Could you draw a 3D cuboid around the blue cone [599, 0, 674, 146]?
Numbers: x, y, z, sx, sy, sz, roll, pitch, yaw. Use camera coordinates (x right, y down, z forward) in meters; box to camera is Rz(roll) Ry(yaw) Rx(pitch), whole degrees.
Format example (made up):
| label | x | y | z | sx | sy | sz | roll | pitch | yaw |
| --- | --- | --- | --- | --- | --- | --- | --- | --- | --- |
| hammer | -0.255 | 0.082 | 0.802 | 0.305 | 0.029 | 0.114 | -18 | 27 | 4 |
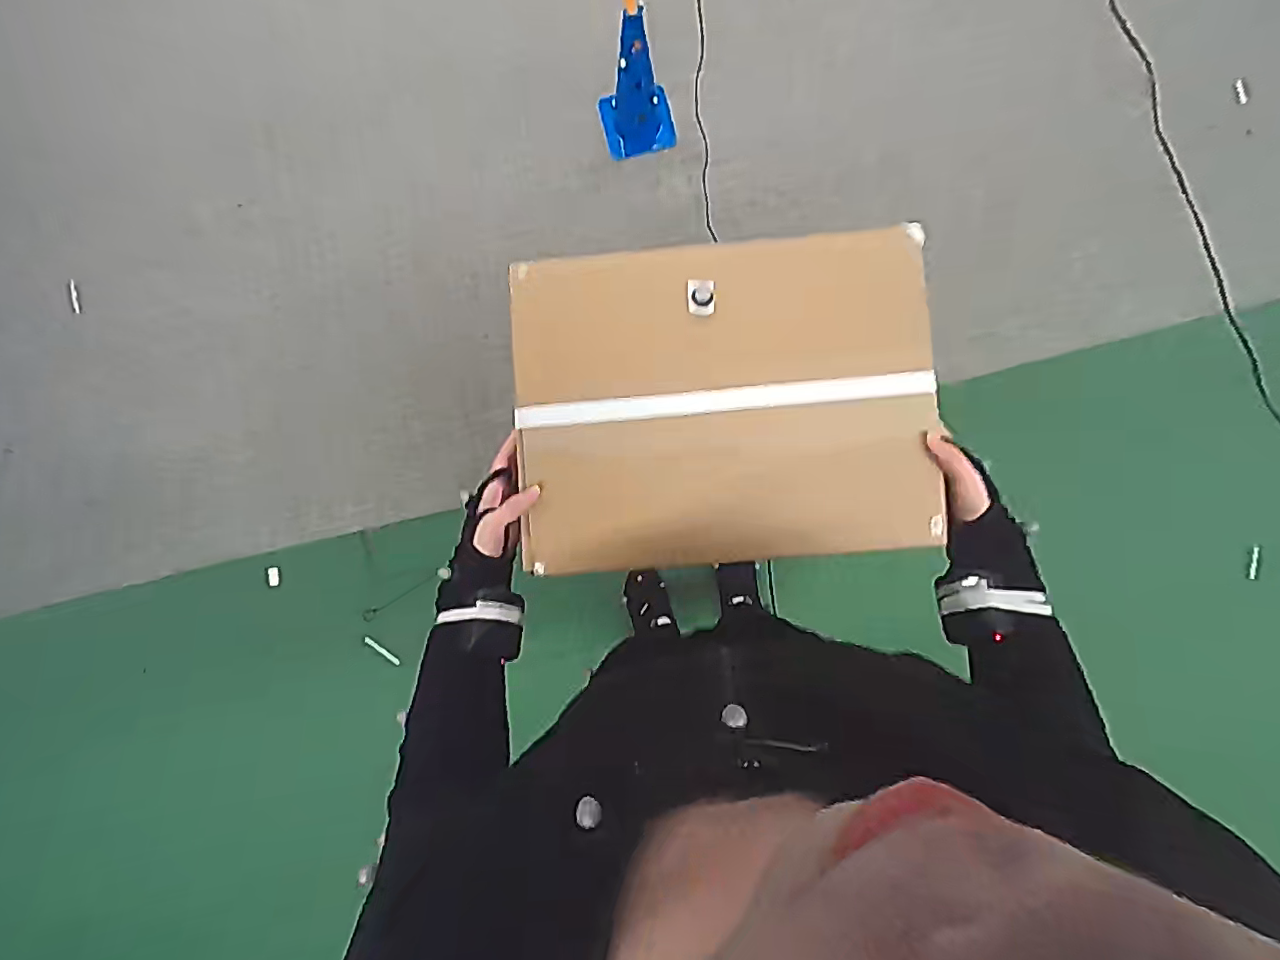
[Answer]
| label | x | y | z | sx | sy | sz | roll | pitch | yaw |
| --- | --- | --- | --- | --- | --- | --- | --- | --- | --- |
| blue cone | -0.018 | -1.077 | 1.396 | 0.193 | 0.380 | 0.192 | -17 | 86 | 2 |
